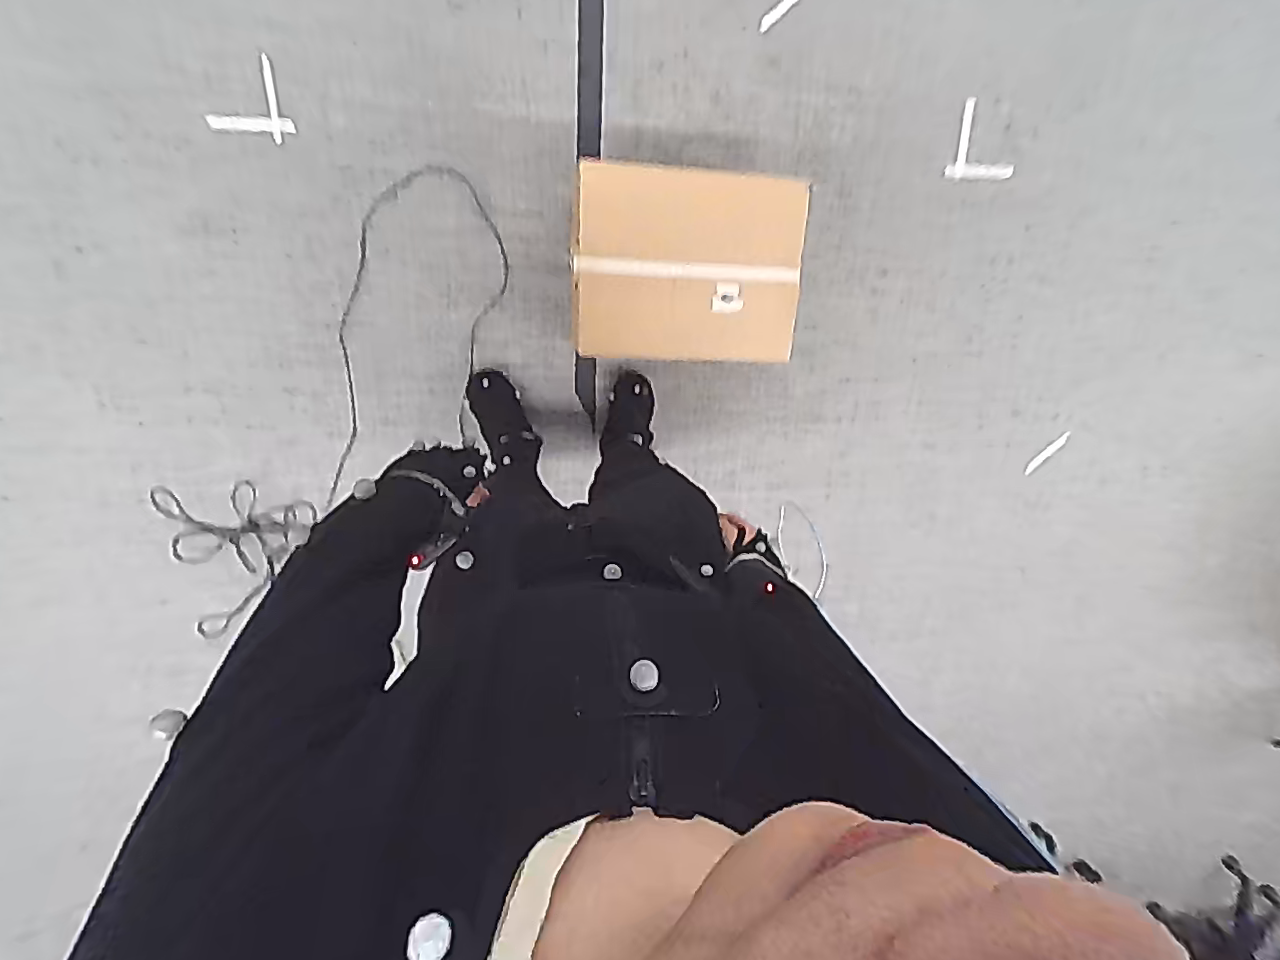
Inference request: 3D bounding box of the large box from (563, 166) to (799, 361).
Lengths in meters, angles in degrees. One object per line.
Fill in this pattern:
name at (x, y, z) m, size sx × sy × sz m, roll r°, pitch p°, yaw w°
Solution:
large box at (0.054, -0.414, 1.093) m, size 0.408 × 0.320 × 0.320 m, roll -1°, pitch 109°, yaw -10°
